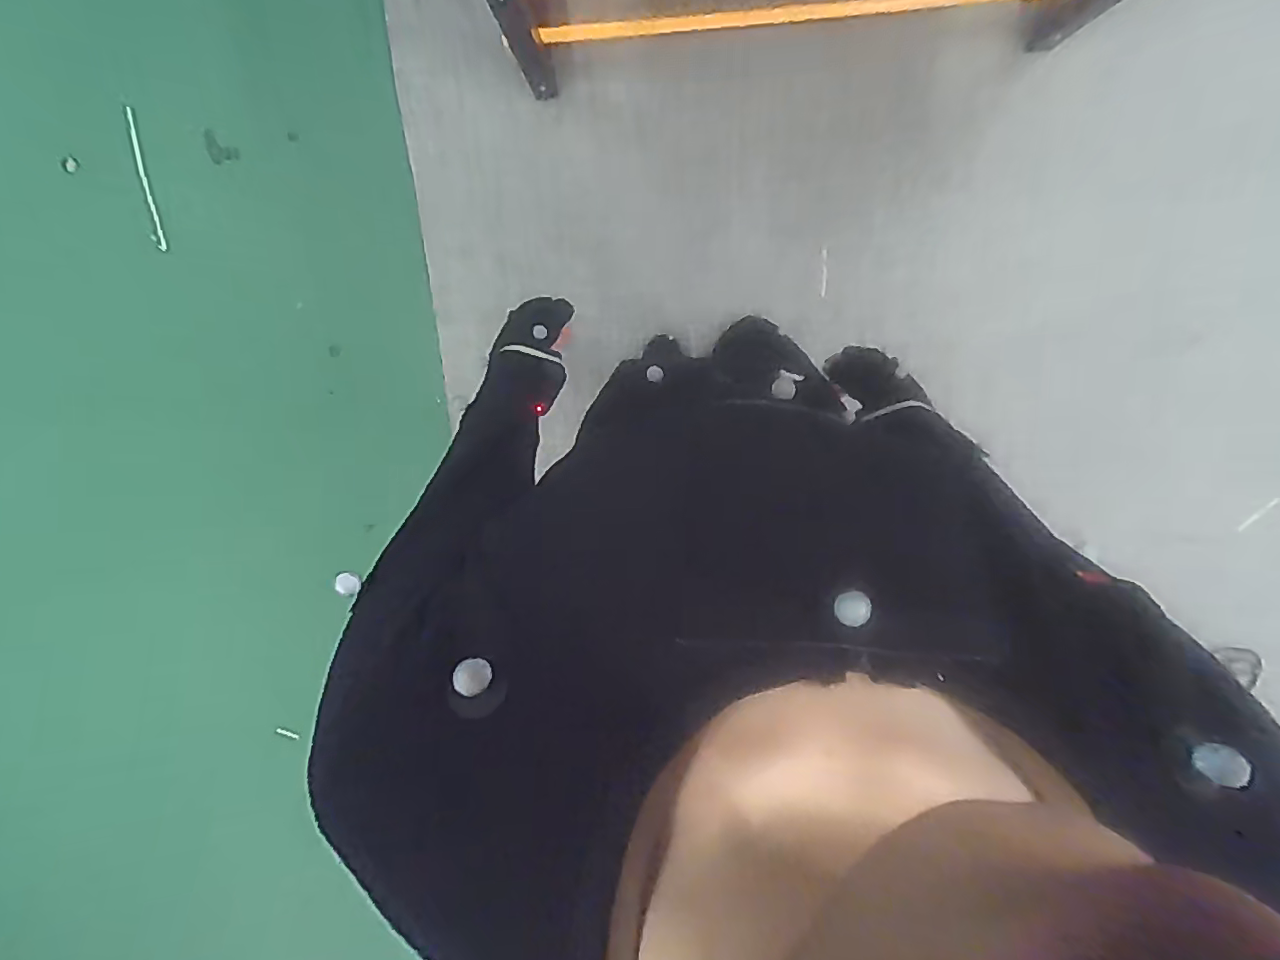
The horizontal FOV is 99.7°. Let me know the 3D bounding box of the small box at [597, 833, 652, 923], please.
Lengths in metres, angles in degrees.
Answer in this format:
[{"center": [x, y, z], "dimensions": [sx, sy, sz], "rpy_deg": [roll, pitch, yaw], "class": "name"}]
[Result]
[{"center": [-0.045, 1.294, 1.761], "dimensions": [0.168, 0.176, 0.179], "rpy_deg": [-2, 104, 2], "class": "small box"}]
